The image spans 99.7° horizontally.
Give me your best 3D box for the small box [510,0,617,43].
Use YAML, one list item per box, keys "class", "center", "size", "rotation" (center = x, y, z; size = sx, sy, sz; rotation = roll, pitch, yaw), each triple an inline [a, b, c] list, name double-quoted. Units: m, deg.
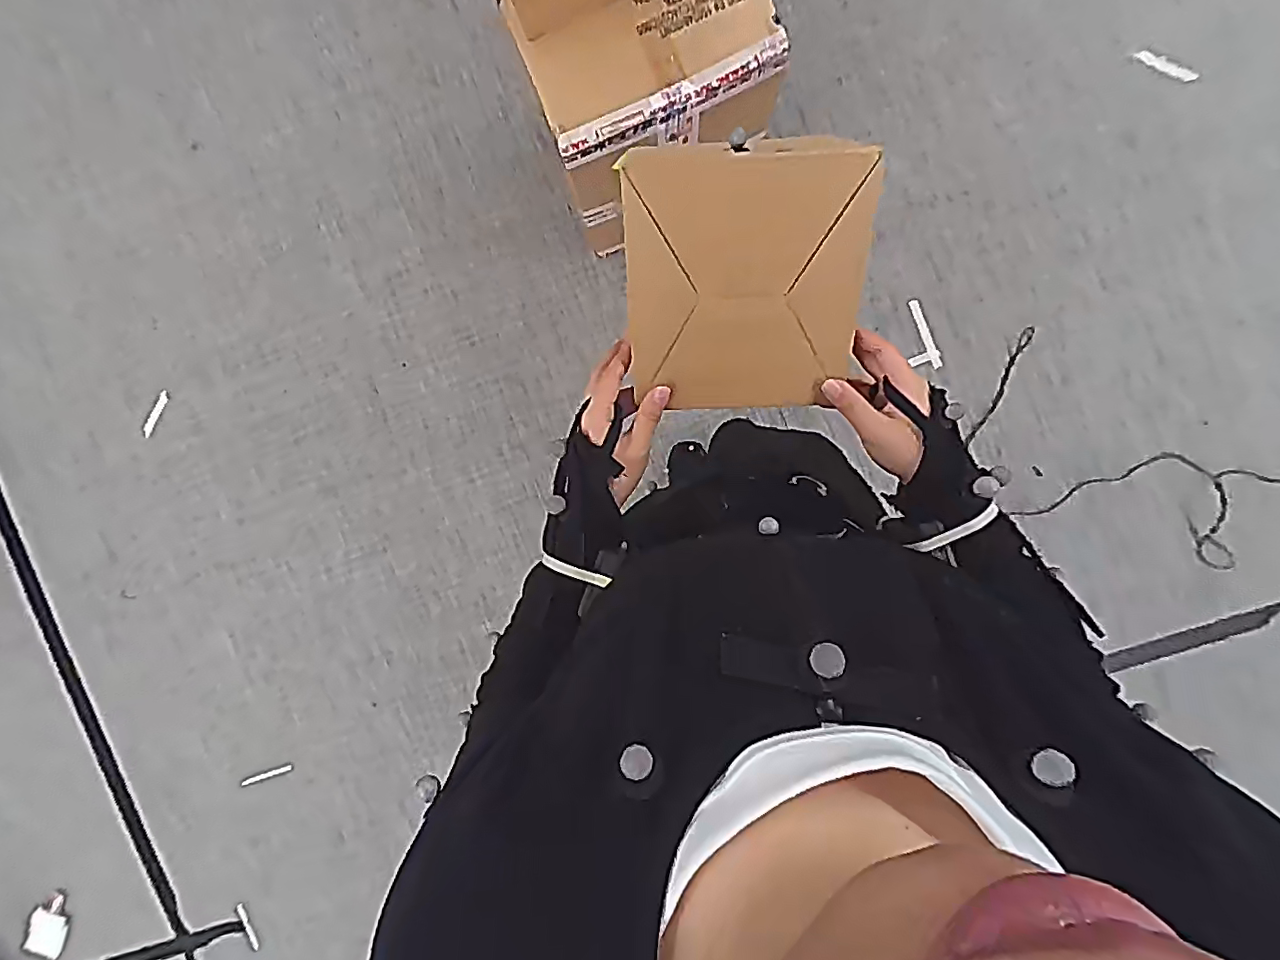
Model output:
- class: "small box"
  center: [-0.128, -0.781, 0.760]
  size: [0.179, 0.176, 0.168]
  rotation: [-20, 93, 7]
